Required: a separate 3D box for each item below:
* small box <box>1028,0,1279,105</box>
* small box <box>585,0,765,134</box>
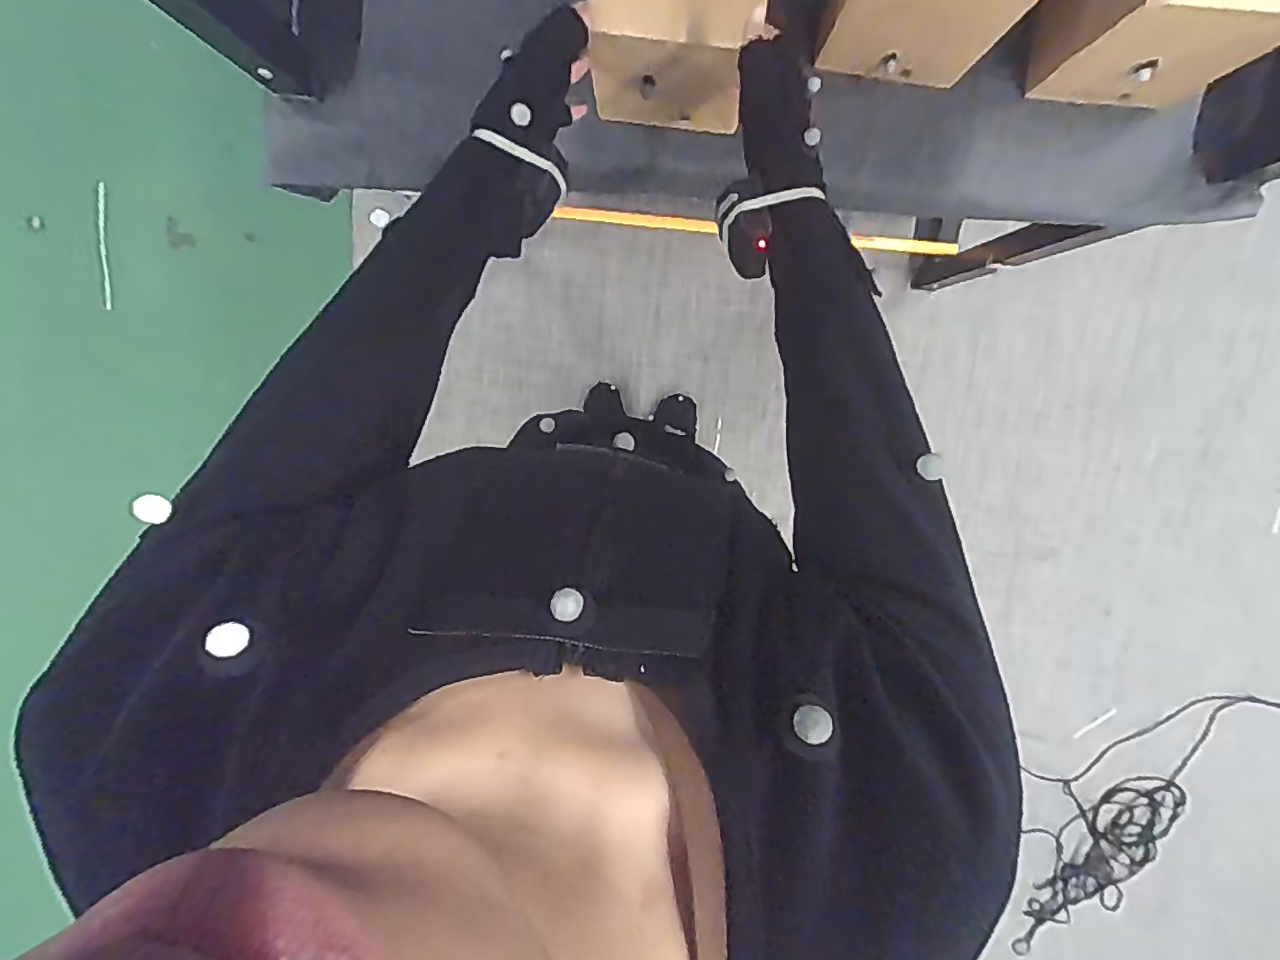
[{"bbox_3d":[0.540,-0.517,0.548,0.168,0.176,0.179,5,100,0],"label":"small box"},{"bbox_3d":[0.042,-0.497,0.566,0.168,0.176,0.179,6,98,0],"label":"small box"}]
